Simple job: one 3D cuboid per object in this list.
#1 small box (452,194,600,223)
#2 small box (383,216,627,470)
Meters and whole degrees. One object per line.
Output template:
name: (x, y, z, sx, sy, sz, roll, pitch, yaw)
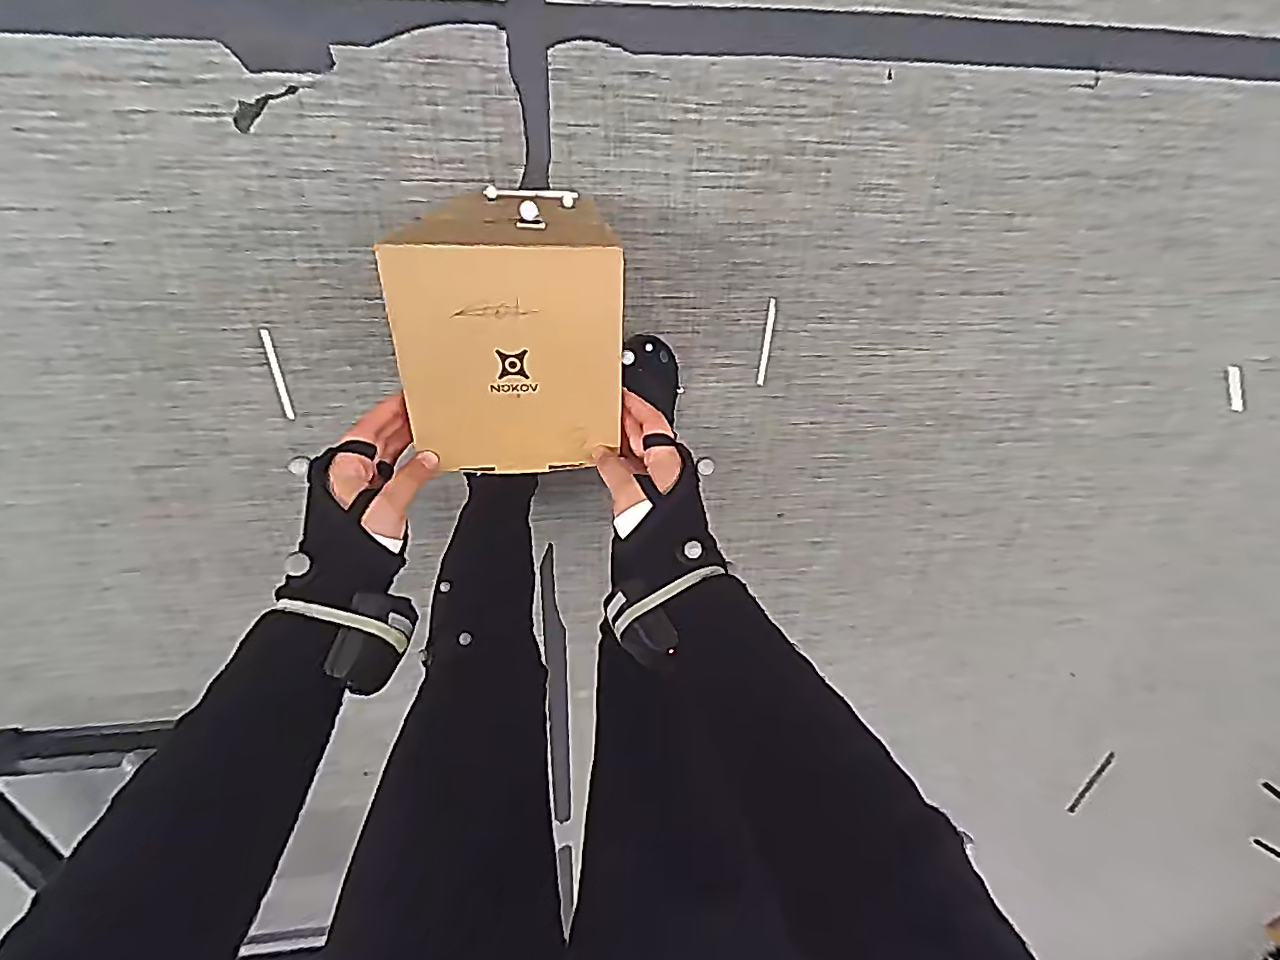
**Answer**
small box: (-0.148, -0.296, 0.751, 0.179, 0.176, 0.168, -1, 122, -8)
small box: (-0.103, -0.126, 0.477, 0.168, 0.176, 0.179, -3, 121, -8)
